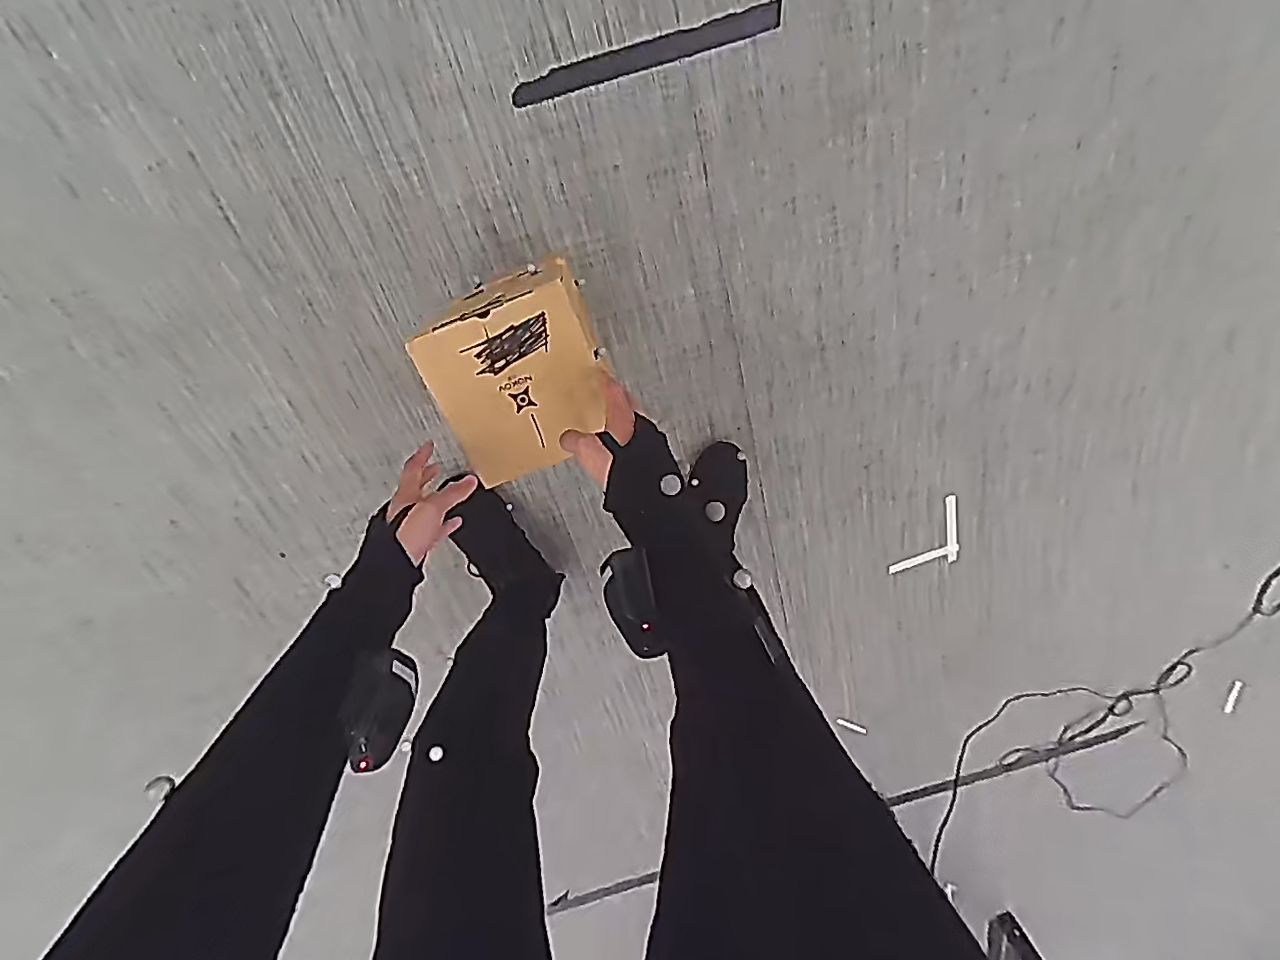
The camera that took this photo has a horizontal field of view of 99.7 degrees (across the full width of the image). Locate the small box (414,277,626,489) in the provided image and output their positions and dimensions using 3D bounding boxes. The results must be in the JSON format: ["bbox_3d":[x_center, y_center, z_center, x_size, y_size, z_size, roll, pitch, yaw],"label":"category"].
[{"bbox_3d":[-0.128,-0.122,0.625,0.168,0.176,0.179,-20,118,2],"label":"small box"}]

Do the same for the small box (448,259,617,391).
[{"bbox_3d":[-0.146,-0.200,0.768,0.168,0.176,0.179,-22,118,2],"label":"small box"}]
